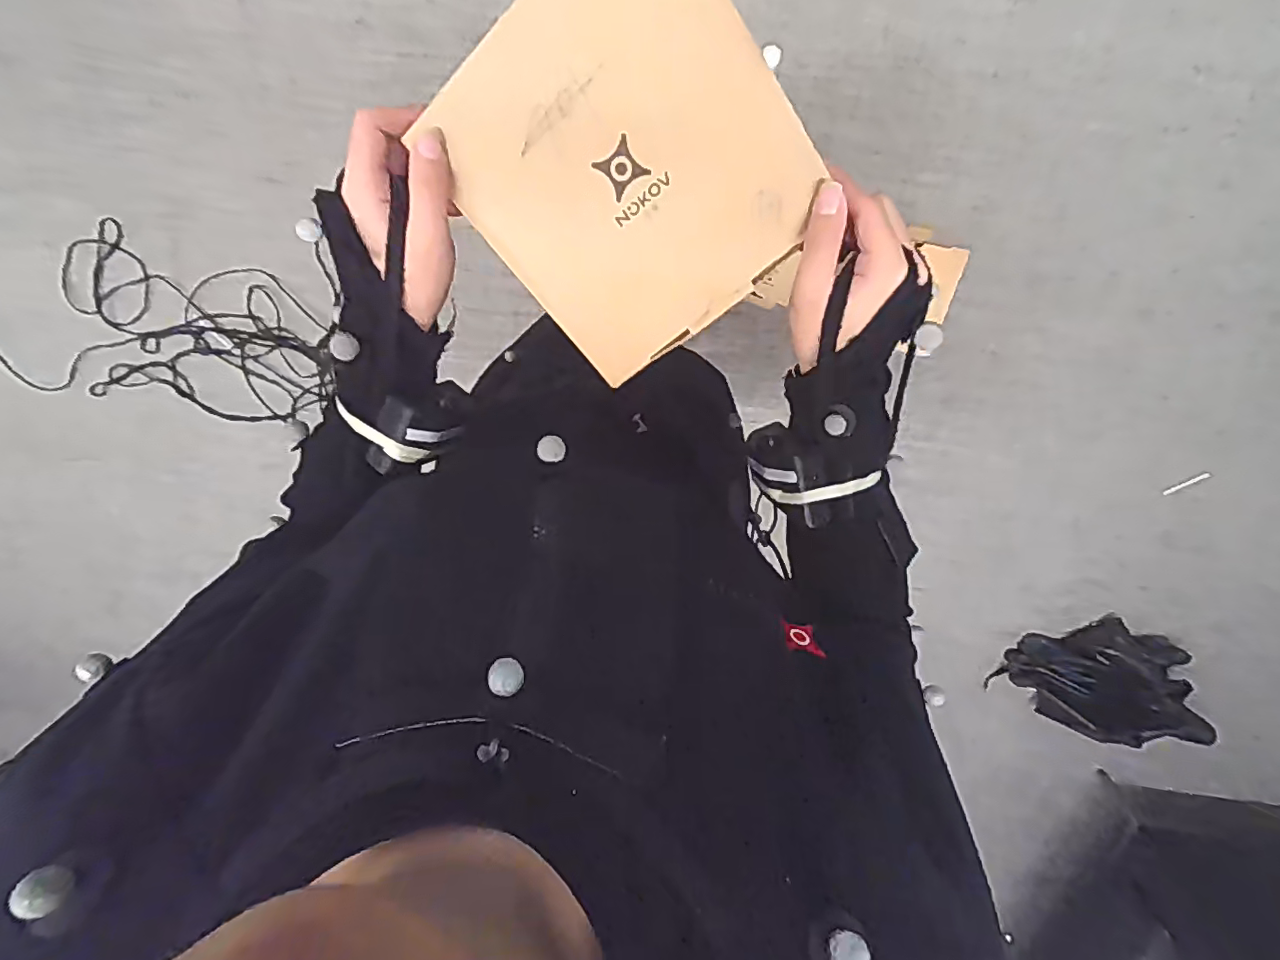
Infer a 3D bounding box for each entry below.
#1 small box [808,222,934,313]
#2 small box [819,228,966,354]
[{"bbox_3d":[0.460,-0.419,1.113,0.168,0.176,0.179,10,114,0],"label":"small box"},{"bbox_3d":[0.435,-0.342,0.970,0.168,0.176,0.179,10,114,0],"label":"small box"}]
